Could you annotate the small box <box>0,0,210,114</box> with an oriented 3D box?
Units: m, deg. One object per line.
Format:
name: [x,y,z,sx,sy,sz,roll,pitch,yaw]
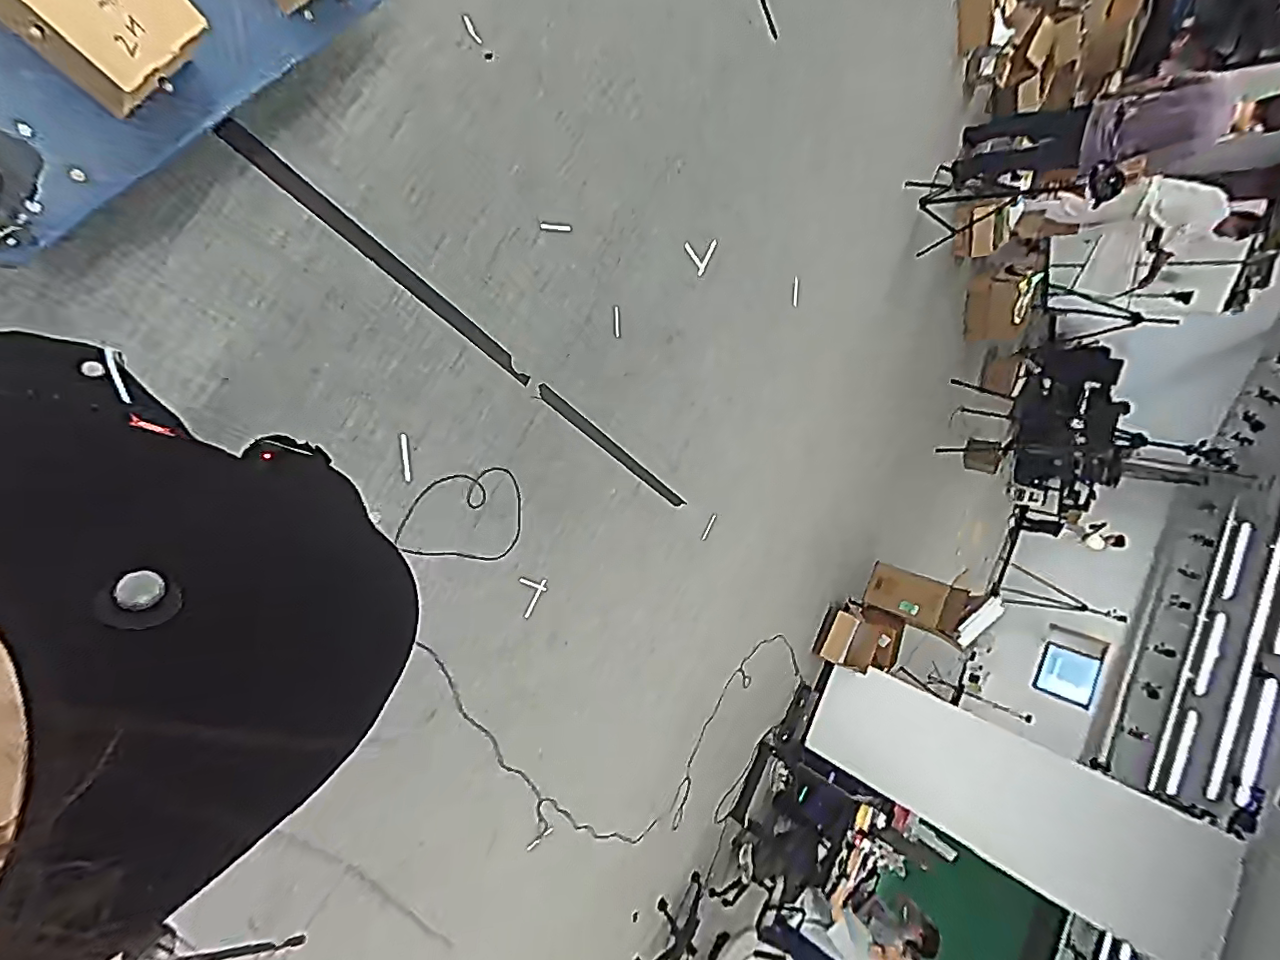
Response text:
small box: [-0.779,-0.672,0.774,0.168,0.176,0.179,-59,137,-15]

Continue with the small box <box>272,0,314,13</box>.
small box: [-0.575,-0.940,0.906,0.179,0.176,0.168,-54,136,-19]
